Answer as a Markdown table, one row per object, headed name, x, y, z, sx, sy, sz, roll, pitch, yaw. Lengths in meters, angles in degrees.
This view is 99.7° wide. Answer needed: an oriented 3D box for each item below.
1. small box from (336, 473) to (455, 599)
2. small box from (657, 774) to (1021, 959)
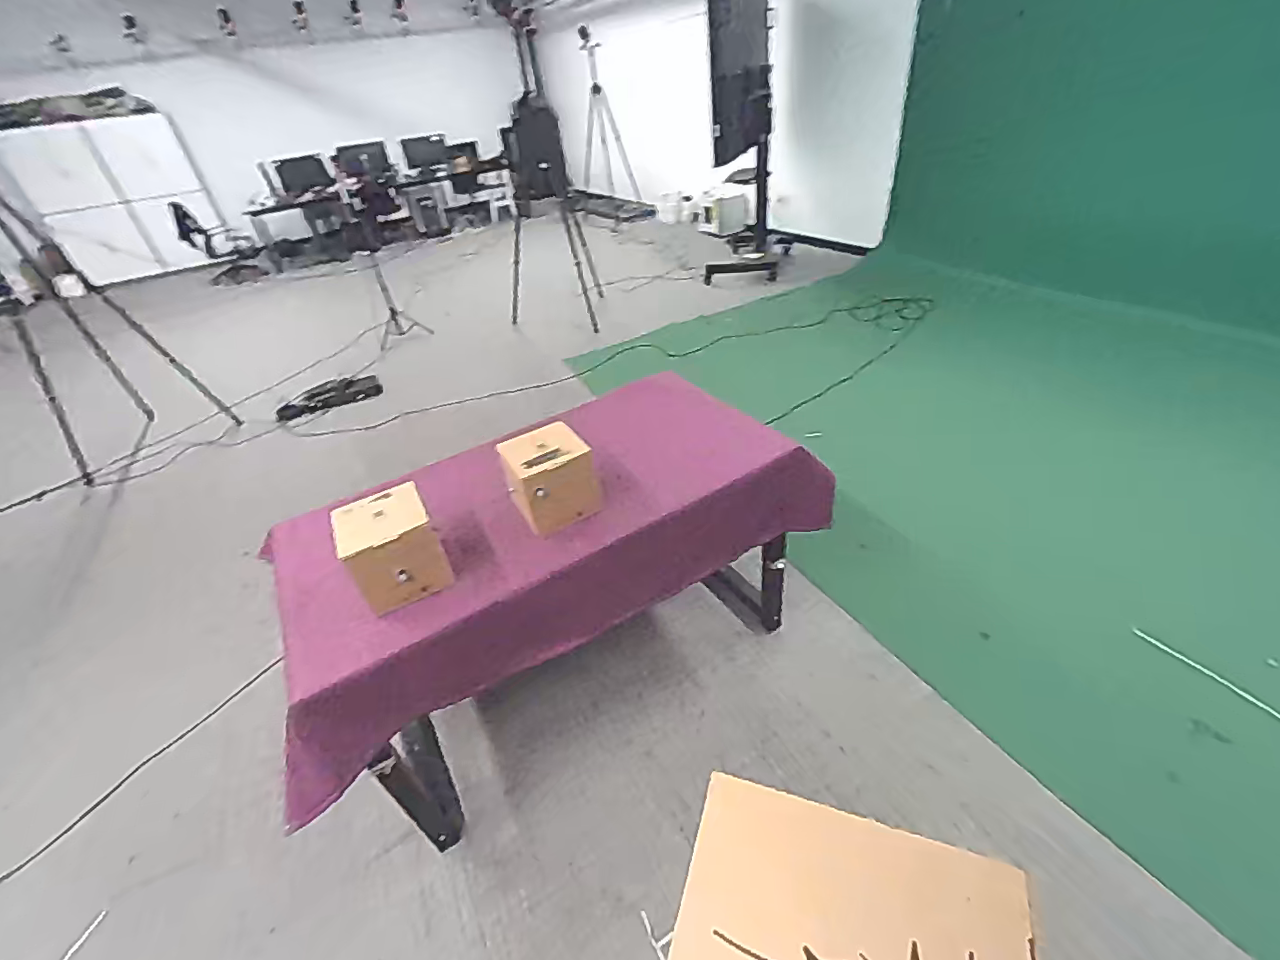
| name | x | y | z | sx | sy | sz | roll | pitch | yaw |
| --- | --- | --- | --- | --- | --- | --- | --- | --- | --- |
| small box | -0.498 | 0.120 | 1.109 | 0.168 | 0.176 | 0.179 | -23 | 40 | -20 |
| small box | 0.108 | 0.314 | 0.327 | 0.179 | 0.176 | 0.168 | 7 | 46 | 21 |
